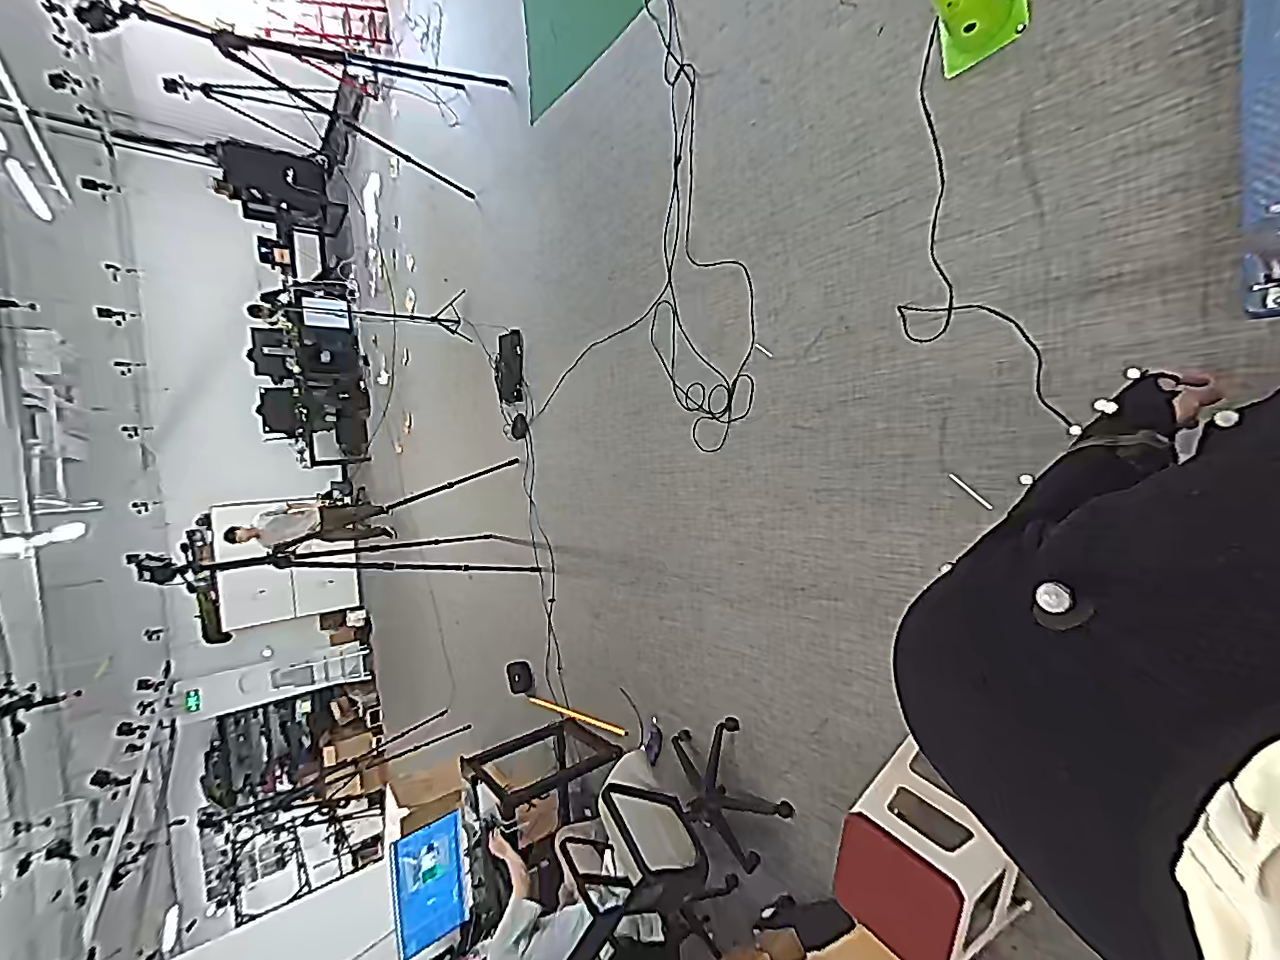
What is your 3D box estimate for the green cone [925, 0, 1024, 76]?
[{"bbox_3d":[0.754,-1.205,1.324,0.202,0.368,0.200,-7,89,54],"label":"green cone"}]
